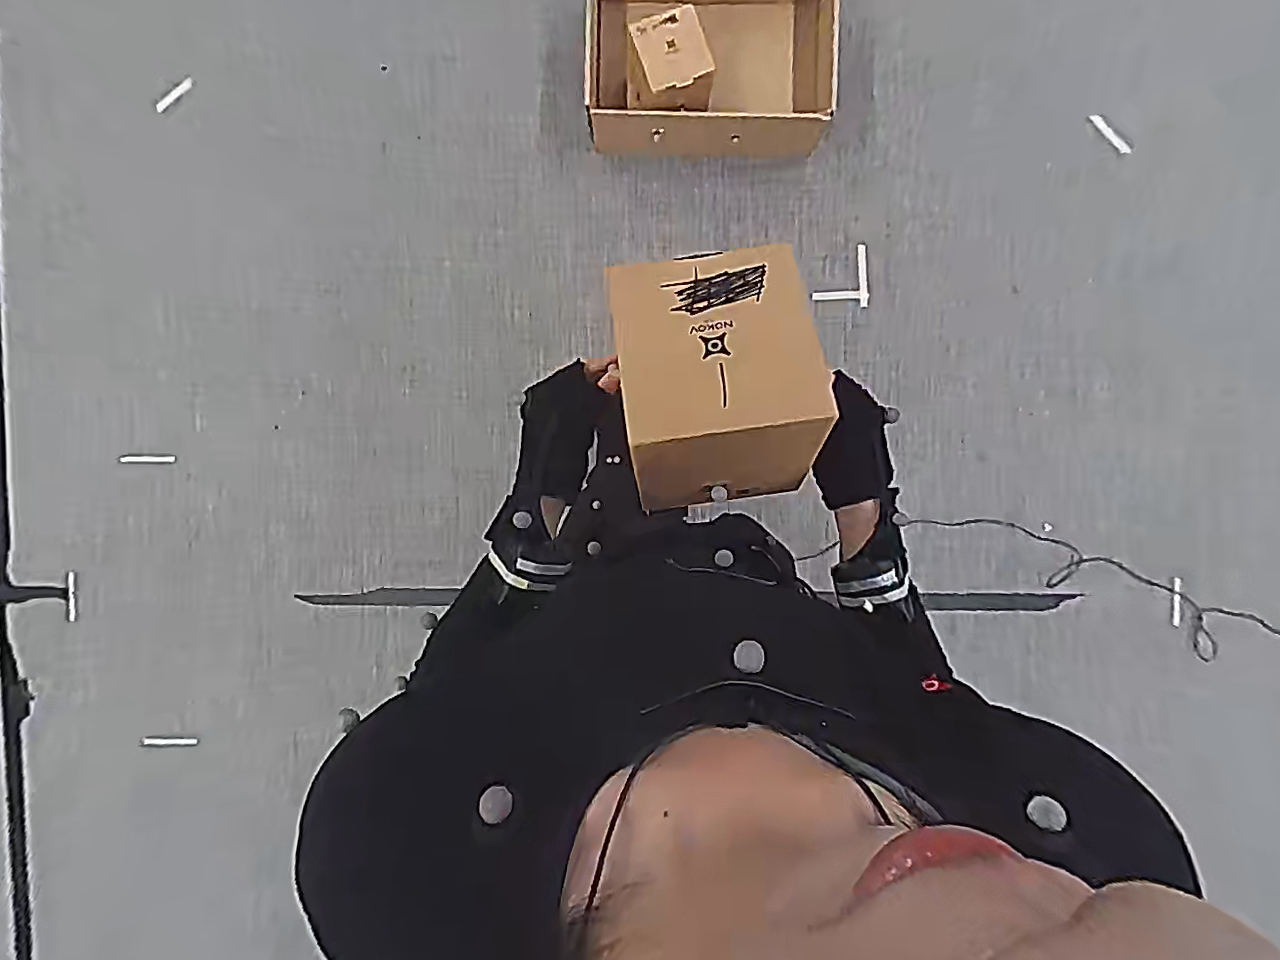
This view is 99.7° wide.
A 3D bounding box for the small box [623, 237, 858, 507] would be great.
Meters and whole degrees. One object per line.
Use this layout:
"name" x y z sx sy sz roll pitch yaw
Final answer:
"small box" 0.077 -0.091 0.509 0.168 0.176 0.179 -8 67 1
